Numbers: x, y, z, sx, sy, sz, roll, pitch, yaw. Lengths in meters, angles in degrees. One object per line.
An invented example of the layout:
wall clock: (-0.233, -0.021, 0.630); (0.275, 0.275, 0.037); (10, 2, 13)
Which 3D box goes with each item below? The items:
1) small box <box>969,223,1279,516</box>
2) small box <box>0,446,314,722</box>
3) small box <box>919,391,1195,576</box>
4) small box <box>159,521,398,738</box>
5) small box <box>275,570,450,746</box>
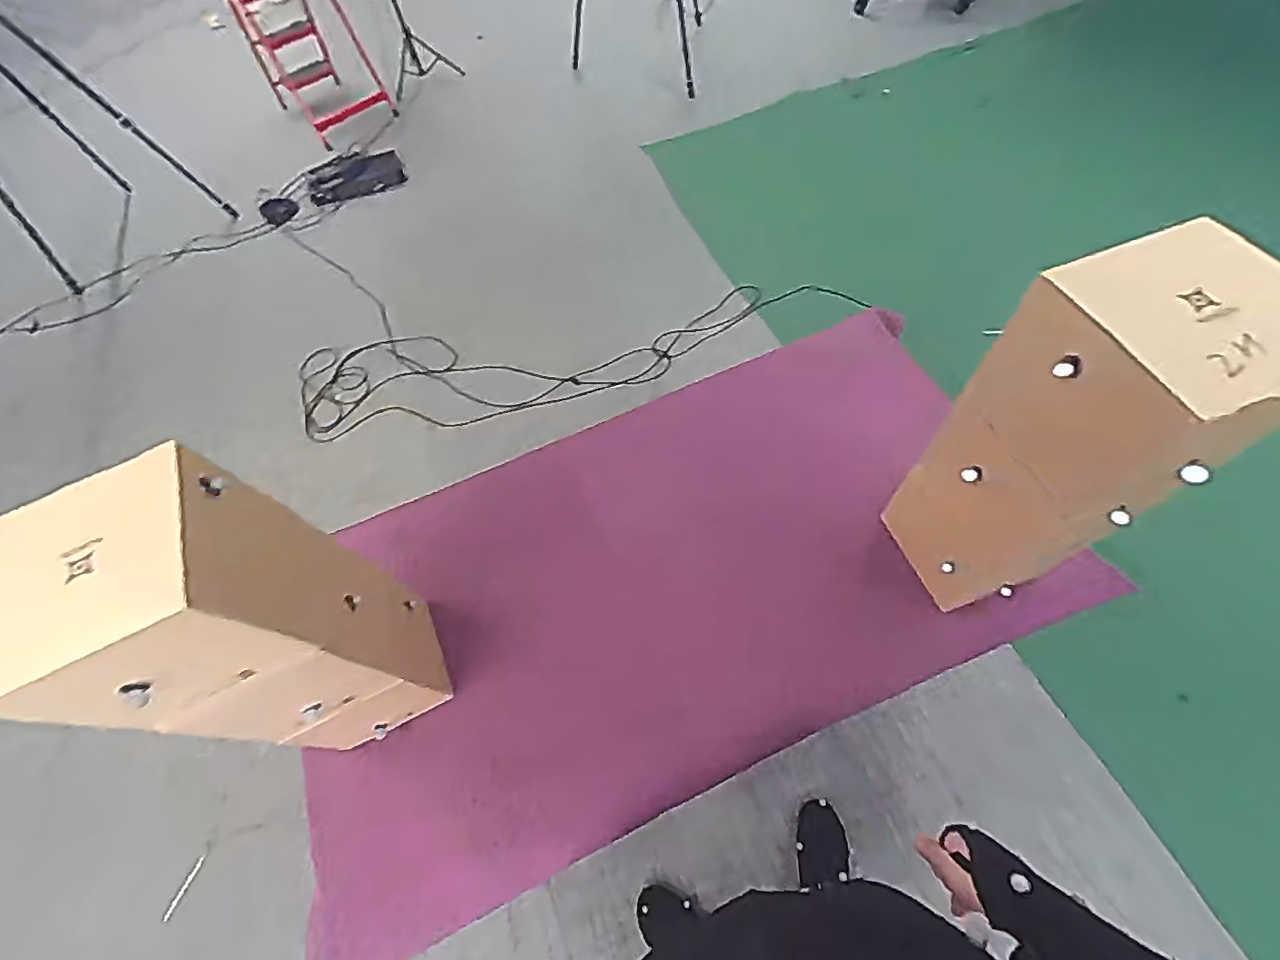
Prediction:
small box: (0.453, -0.095, 0.502); (0.168, 0.176, 0.179); (-19, 60, -3)
small box: (-0.437, 0.106, 0.503); (0.168, 0.176, 0.179); (-27, 61, -7)
small box: (0.471, -0.012, 0.644); (0.168, 0.176, 0.179); (-20, 59, -3)
small box: (-0.419, 0.184, 0.644); (0.168, 0.176, 0.179); (-26, 62, -7)
small box: (-0.403, 0.264, 0.786); (0.168, 0.176, 0.179); (-26, 62, -7)
